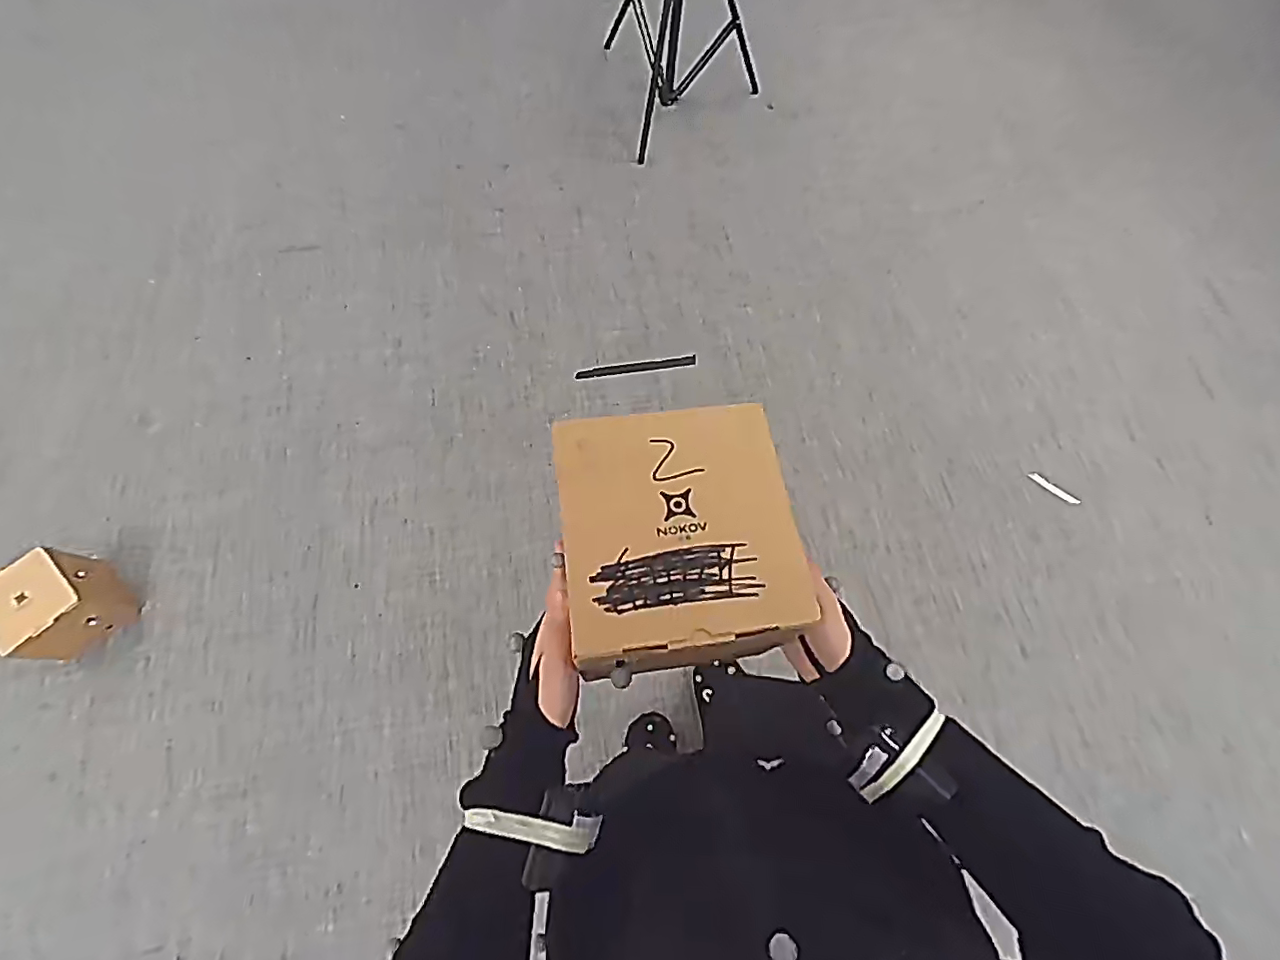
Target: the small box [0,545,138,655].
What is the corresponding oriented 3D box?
[{"bbox_3d":[-1.318,0.278,1.230,0.179,0.176,0.168,42,72,12],"label":"small box"}]
